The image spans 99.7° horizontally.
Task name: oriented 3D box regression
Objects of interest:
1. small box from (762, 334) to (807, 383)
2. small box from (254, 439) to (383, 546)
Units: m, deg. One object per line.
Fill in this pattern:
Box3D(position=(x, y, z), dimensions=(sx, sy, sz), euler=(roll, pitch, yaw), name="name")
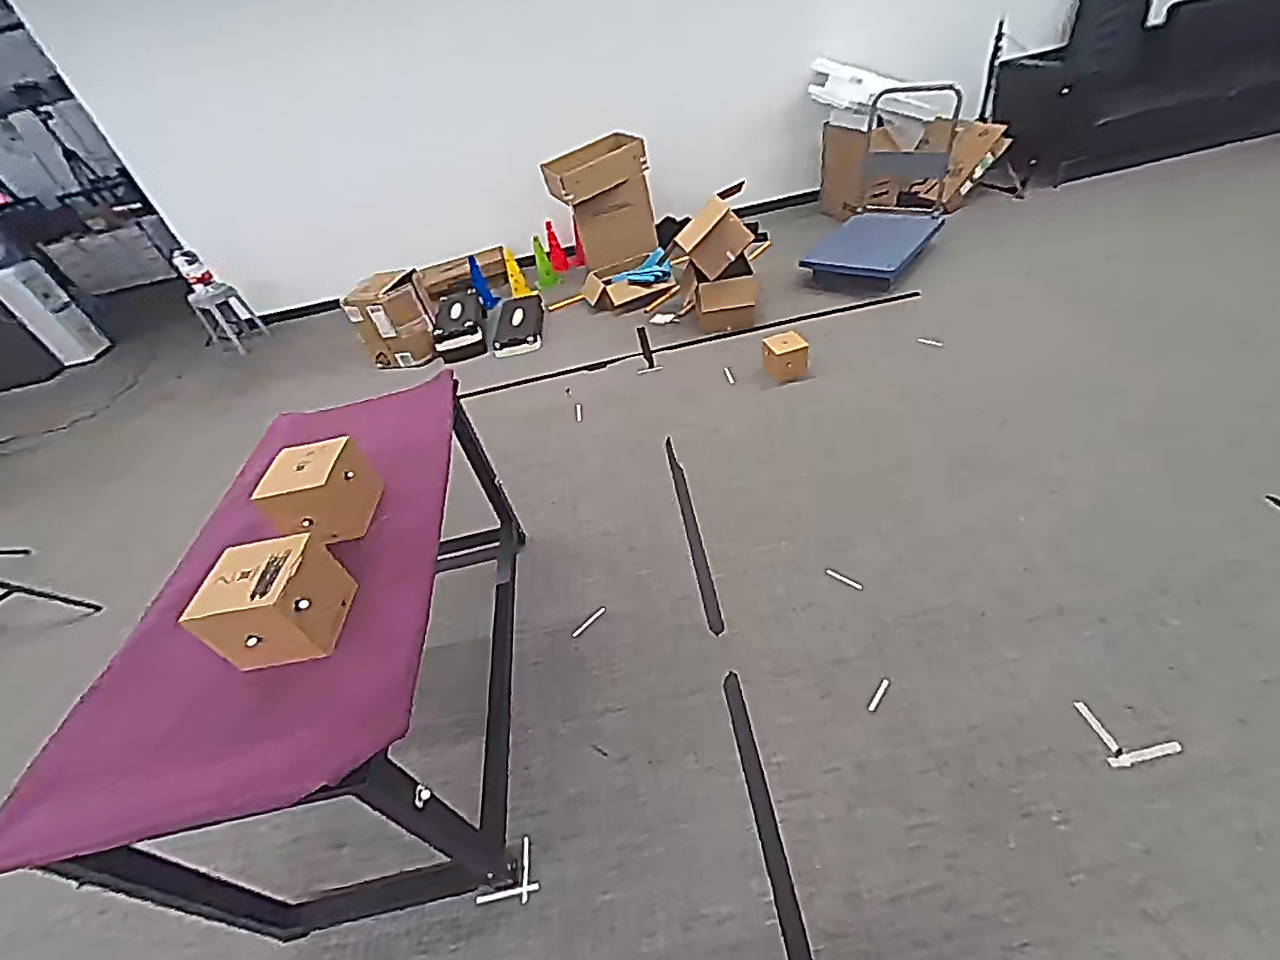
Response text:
Box3D(position=(0.722, -0.599, 2.696), dimensions=(0.168, 0.176, 0.179), euler=(-17, 41, -4), name="small box")
Box3D(position=(-0.723, 0.035, 1.243), dimensions=(0.168, 0.176, 0.179), euler=(-11, 41, 3), name="small box")
